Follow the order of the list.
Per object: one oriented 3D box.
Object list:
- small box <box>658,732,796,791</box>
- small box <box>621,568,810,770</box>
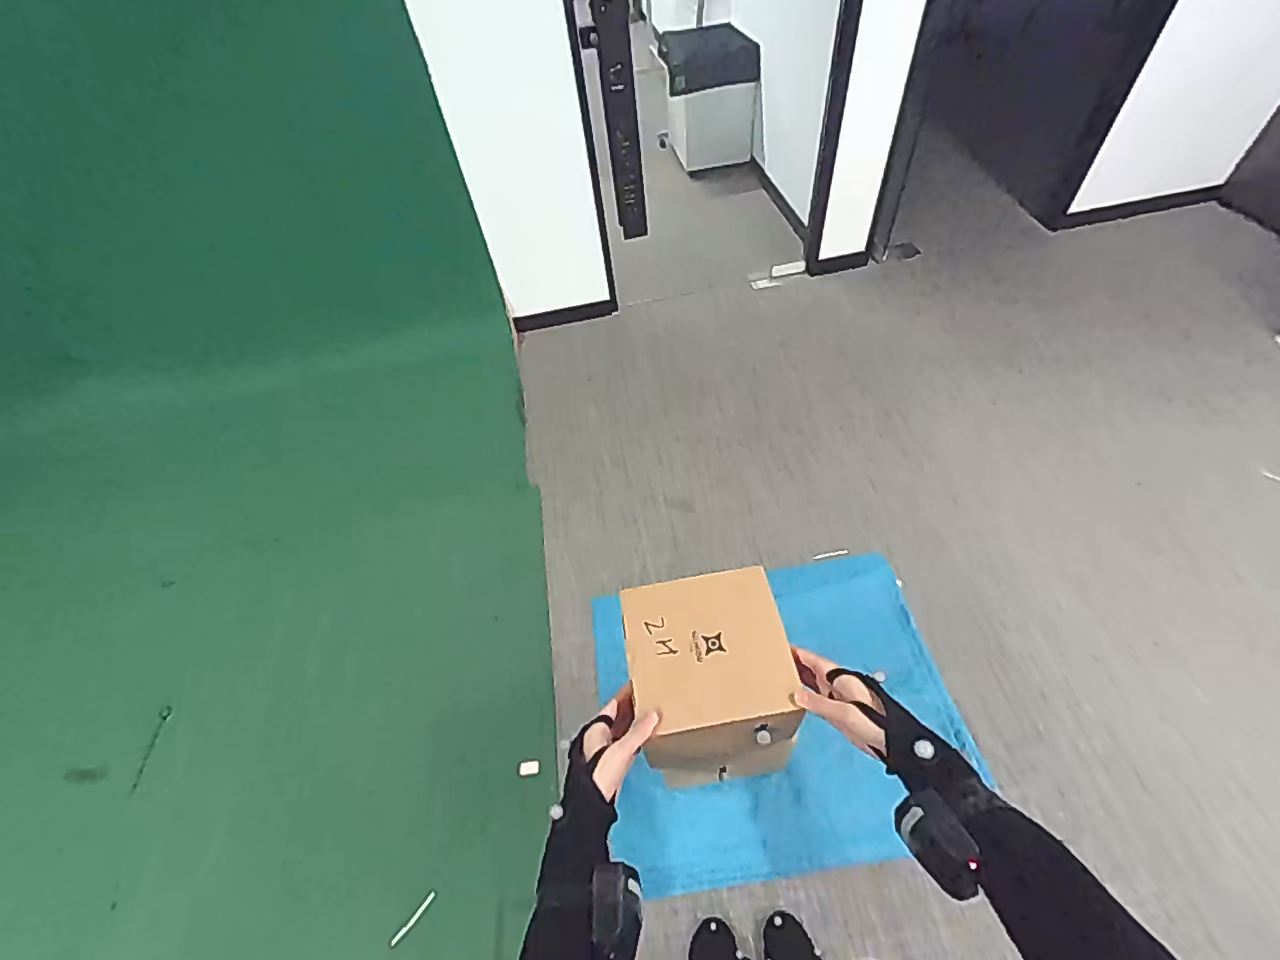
[{"bbox_3d":[0.102,0.325,0.768,0.179,0.176,0.168,-10,51,0],"label":"small box"},{"bbox_3d":[0.078,0.226,0.639,0.179,0.176,0.168,-10,51,-1],"label":"small box"}]
